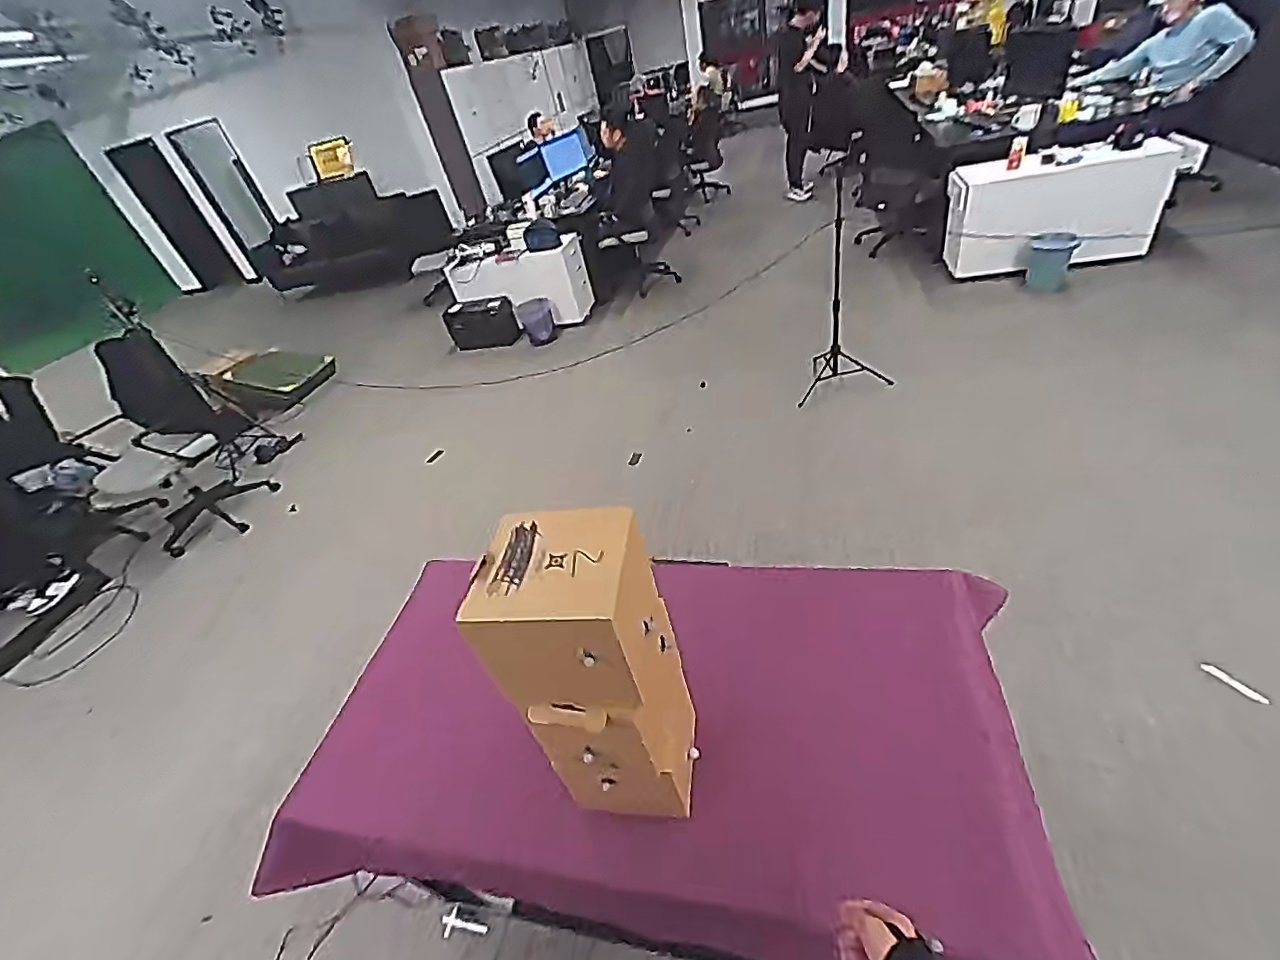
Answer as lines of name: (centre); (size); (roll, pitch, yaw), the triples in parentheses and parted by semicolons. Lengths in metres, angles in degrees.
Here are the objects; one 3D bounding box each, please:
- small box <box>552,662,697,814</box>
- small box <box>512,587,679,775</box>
small box: (-0.013, 0.403, 0.851); (0.179, 0.176, 0.168); (-3, 40, 14)
small box: (-0.047, 0.275, 0.753); (0.168, 0.176, 0.179); (0, 40, 19)
